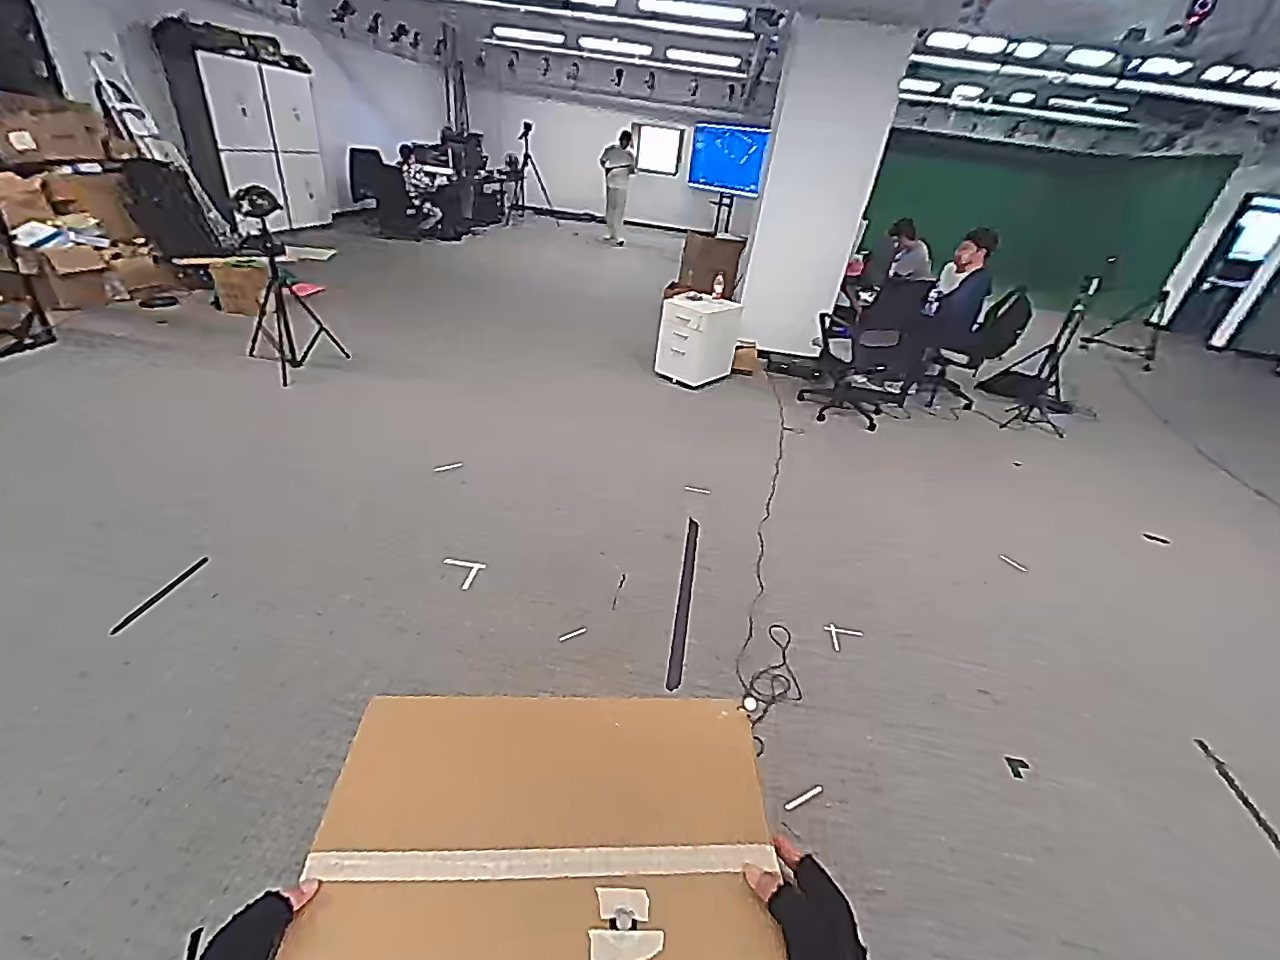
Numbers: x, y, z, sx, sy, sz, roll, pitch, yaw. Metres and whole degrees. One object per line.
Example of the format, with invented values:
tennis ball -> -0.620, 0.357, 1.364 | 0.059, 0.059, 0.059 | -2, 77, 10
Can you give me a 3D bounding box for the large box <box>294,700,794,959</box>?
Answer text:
large box -> -0.085, 0.460, 0.572 | 0.408, 0.320, 0.320 | 3, 38, -3
